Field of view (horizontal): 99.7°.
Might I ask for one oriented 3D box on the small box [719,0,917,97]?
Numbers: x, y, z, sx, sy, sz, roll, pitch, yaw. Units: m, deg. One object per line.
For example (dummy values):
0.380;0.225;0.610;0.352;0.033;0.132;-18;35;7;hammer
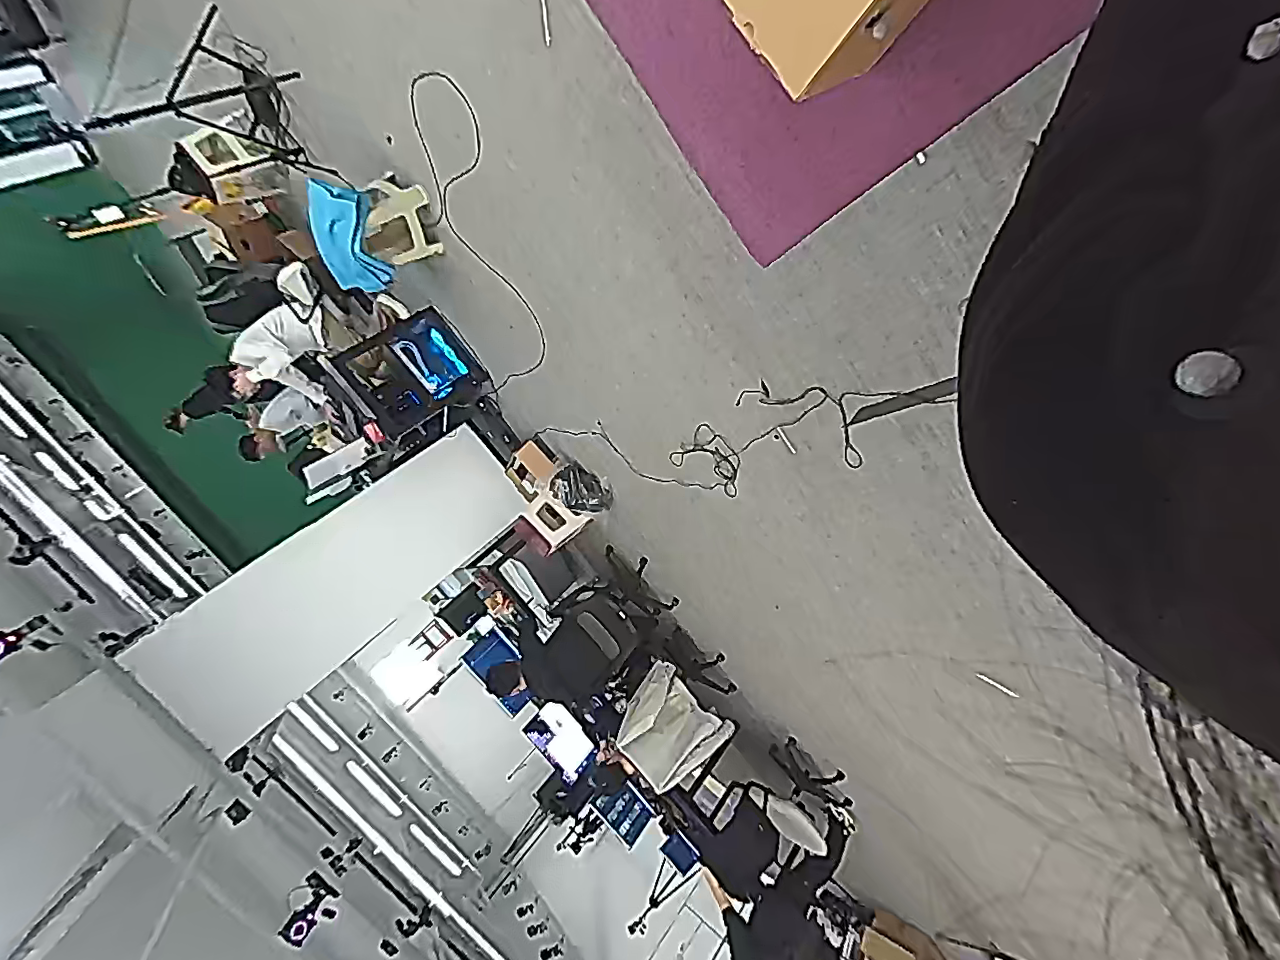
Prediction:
0.191;-0.519;0.507;0.168;0.176;0.179;51;151;-5;small box
